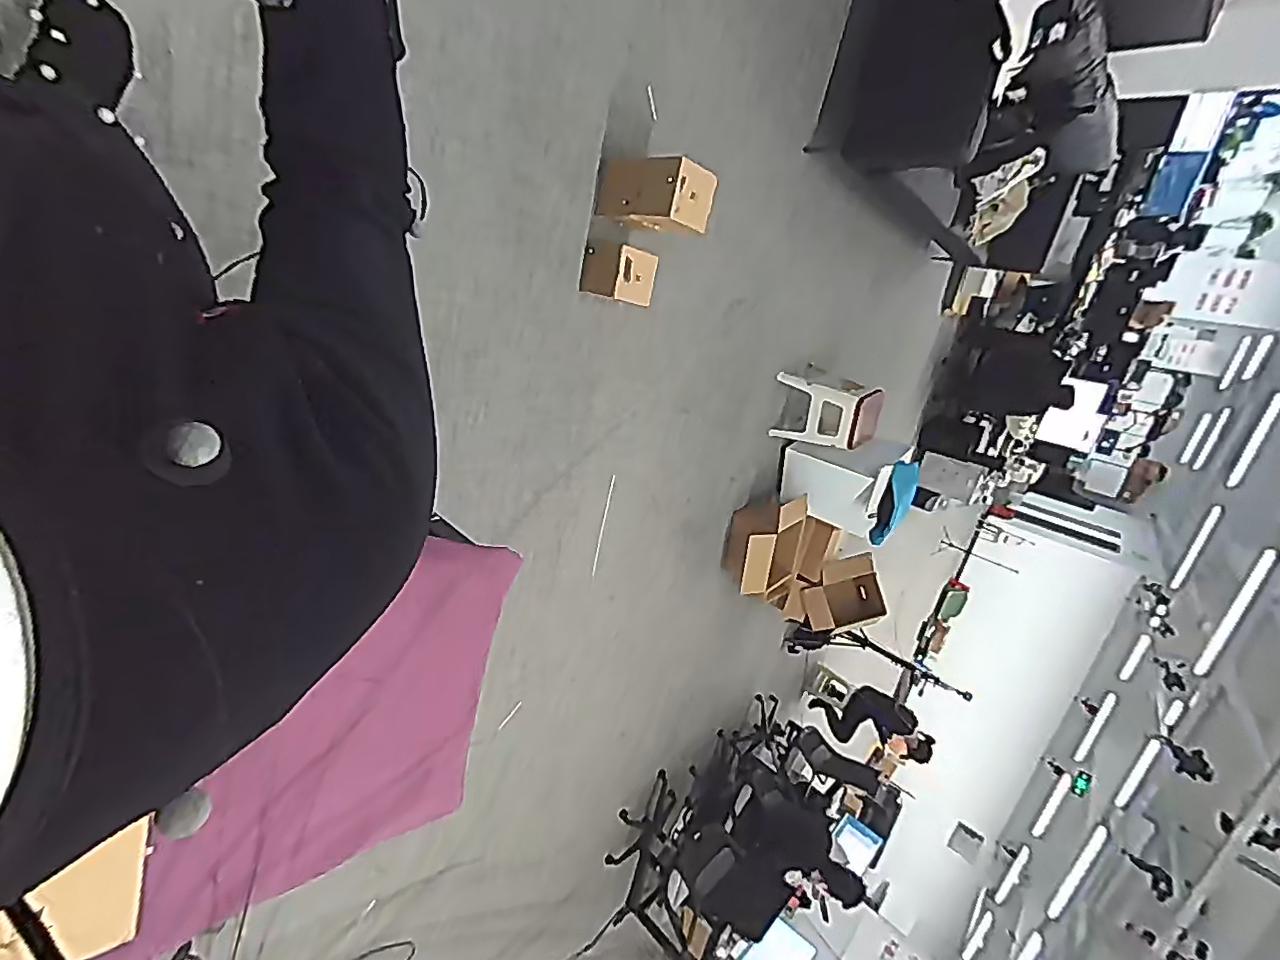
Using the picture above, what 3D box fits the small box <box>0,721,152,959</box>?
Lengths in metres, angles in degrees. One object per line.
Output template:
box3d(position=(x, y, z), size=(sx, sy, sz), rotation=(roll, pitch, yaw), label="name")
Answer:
box3d(position=(-0.650, 0.398, 0.575), size=(0.168, 0.176, 0.179), rotation=(3, 108, -51), label="small box")

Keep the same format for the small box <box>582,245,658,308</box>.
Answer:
box3d(position=(-0.070, -0.686, 1.819), size=(0.179, 0.176, 0.168), rotation=(-6, 115, -48), label="small box")

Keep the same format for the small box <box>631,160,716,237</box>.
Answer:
box3d(position=(0.101, -0.861, 1.655), size=(0.179, 0.176, 0.168), rotation=(-5, 114, -49), label="small box")
